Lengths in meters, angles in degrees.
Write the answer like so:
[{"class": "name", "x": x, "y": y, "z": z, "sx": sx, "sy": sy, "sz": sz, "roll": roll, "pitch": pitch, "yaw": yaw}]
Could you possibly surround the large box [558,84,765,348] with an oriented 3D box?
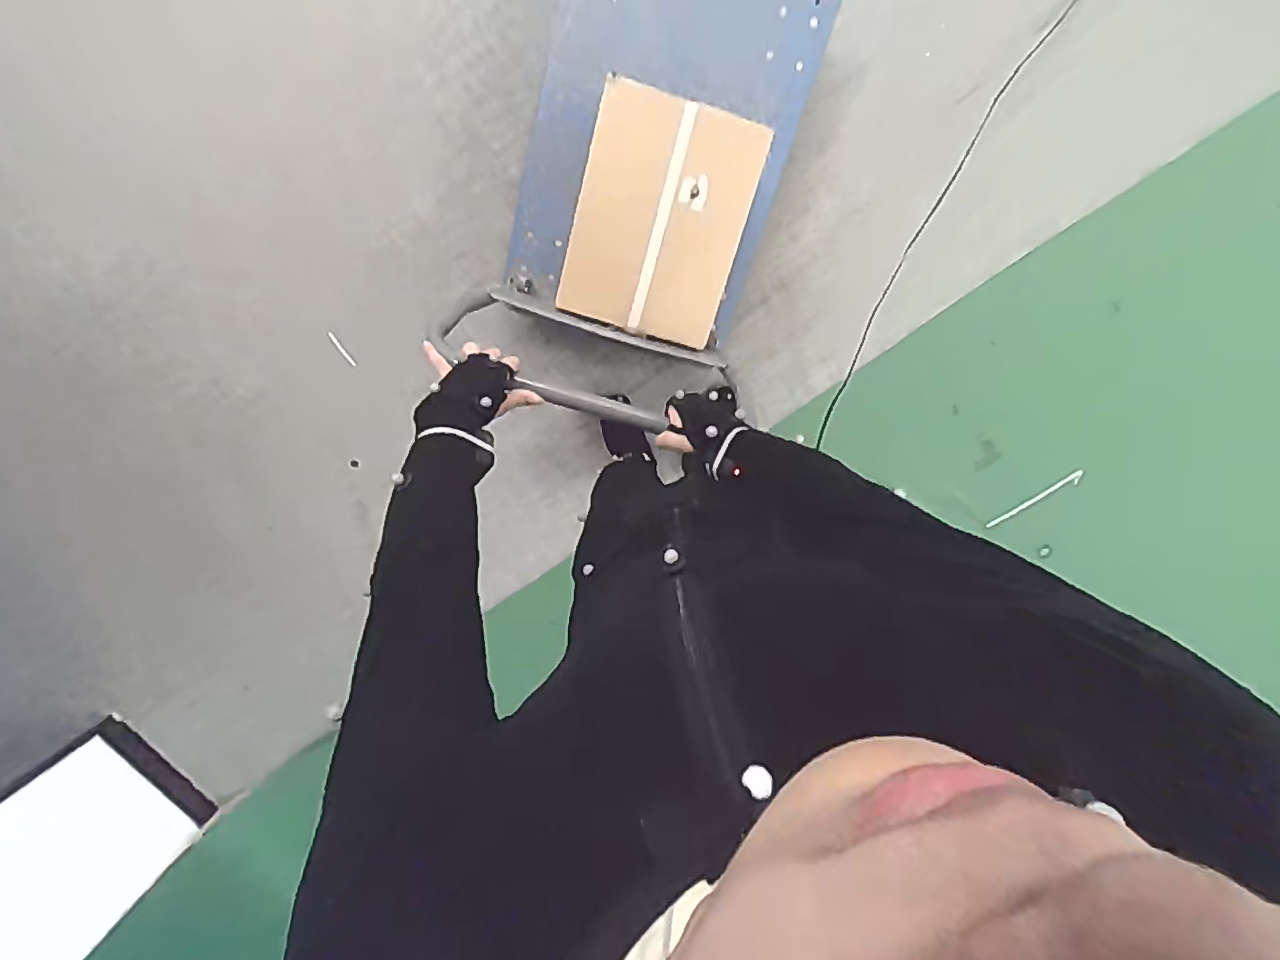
[{"class": "large box", "x": 0.032, "y": -0.533, "z": 1.178, "sx": 0.320, "sy": 0.320, "sz": 0.408, "roll": 15, "pitch": 107, "yaw": -6}]
